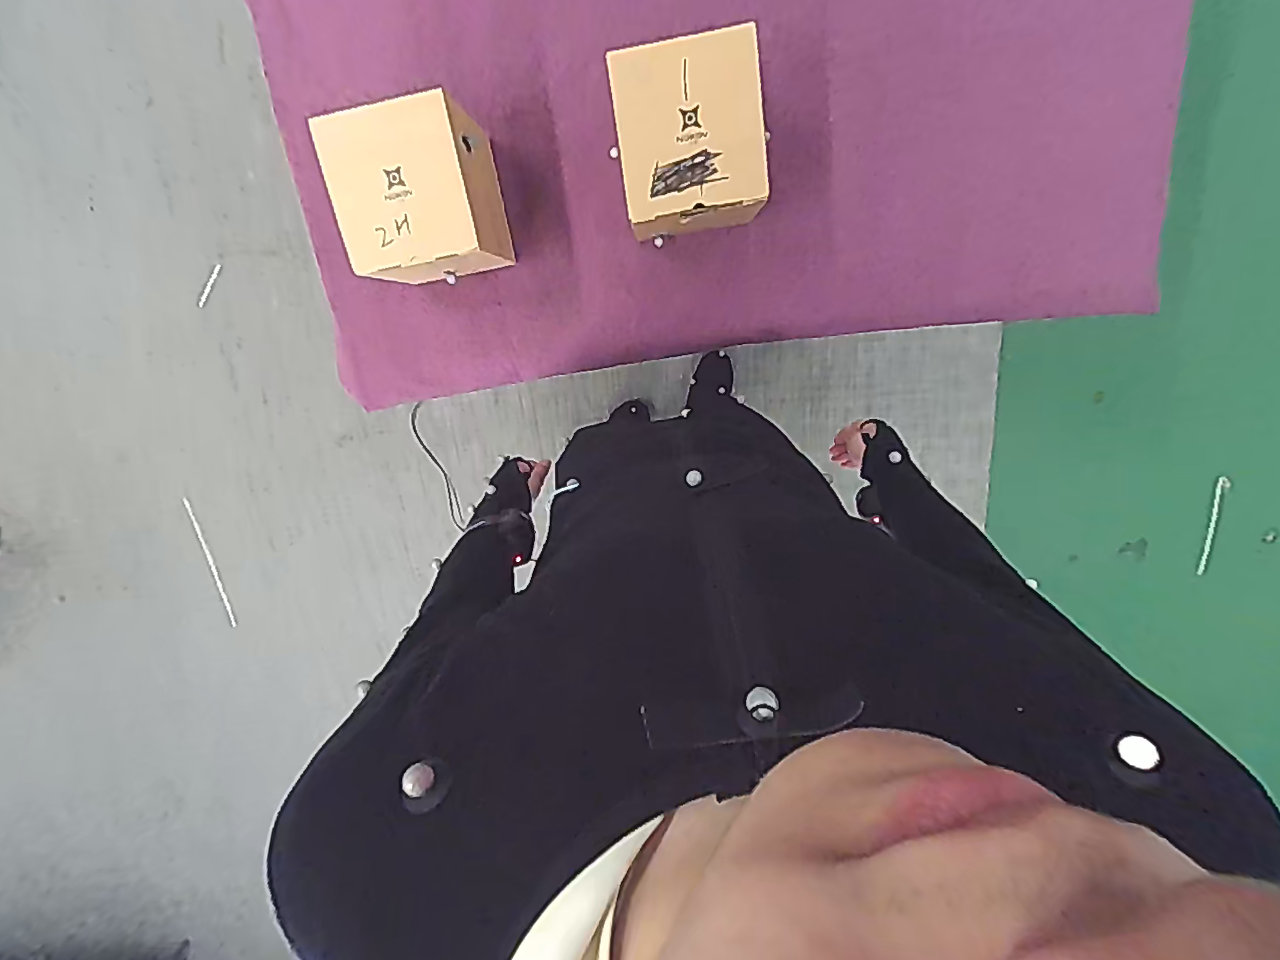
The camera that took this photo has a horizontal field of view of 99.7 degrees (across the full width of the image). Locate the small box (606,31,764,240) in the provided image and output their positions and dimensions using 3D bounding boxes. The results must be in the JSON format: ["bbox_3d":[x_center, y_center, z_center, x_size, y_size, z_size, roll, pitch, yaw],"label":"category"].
[{"bbox_3d":[0.058,-0.414,0.688,0.168,0.176,0.179,-7,105,5],"label":"small box"}]

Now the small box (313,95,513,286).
[{"bbox_3d":[-0.284,-0.366,0.718,0.168,0.176,0.179,-9,106,5],"label":"small box"}]
